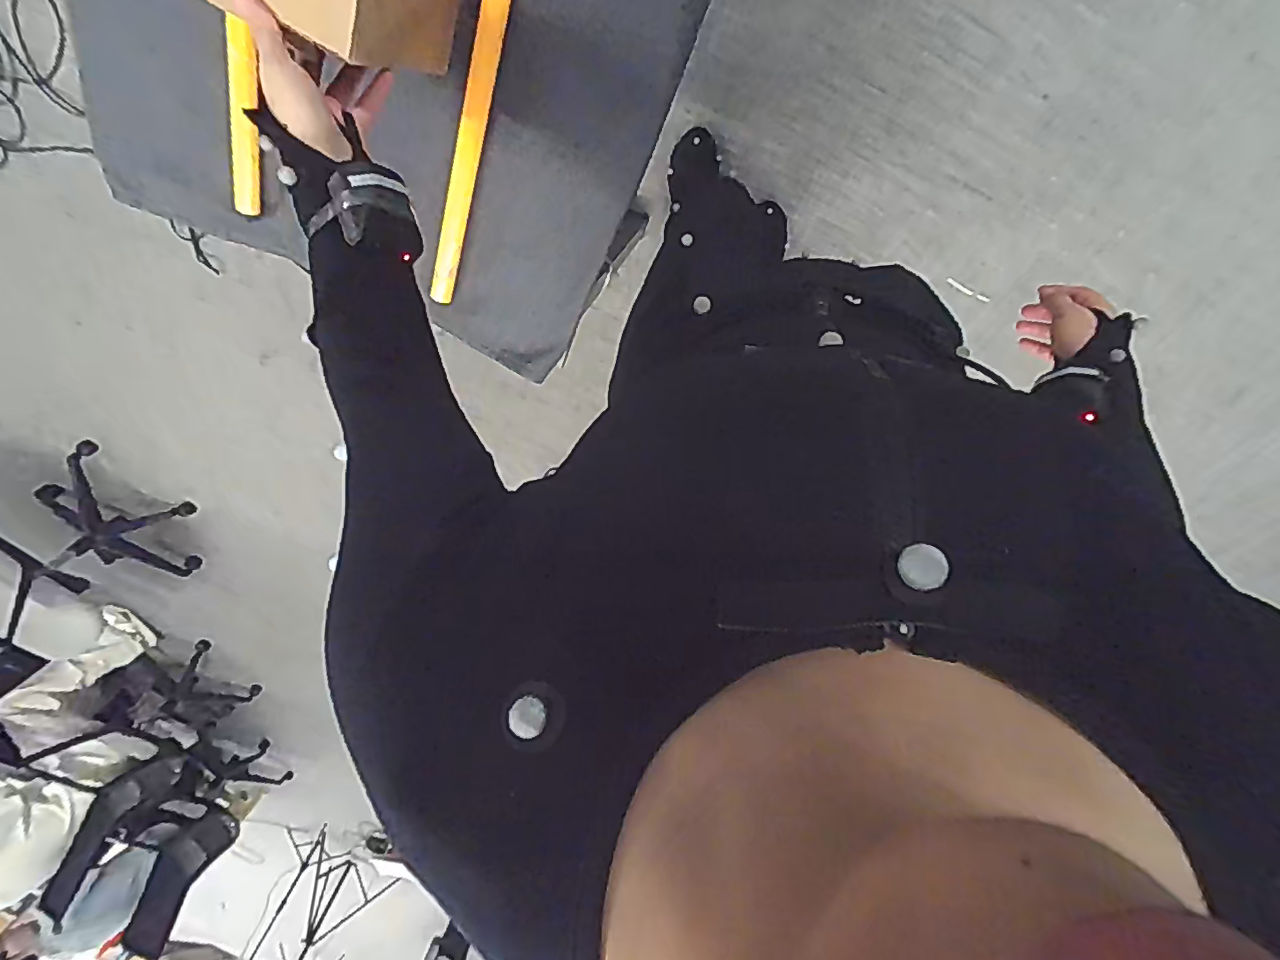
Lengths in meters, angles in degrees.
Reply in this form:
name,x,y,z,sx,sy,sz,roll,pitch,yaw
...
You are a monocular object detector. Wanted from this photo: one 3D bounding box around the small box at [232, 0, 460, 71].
name,x,y,z,sx,sy,sz,roll,pitch,yaw
small box,-0.245,-0.465,0.433,0.168,0.176,0.179,26,125,-8
